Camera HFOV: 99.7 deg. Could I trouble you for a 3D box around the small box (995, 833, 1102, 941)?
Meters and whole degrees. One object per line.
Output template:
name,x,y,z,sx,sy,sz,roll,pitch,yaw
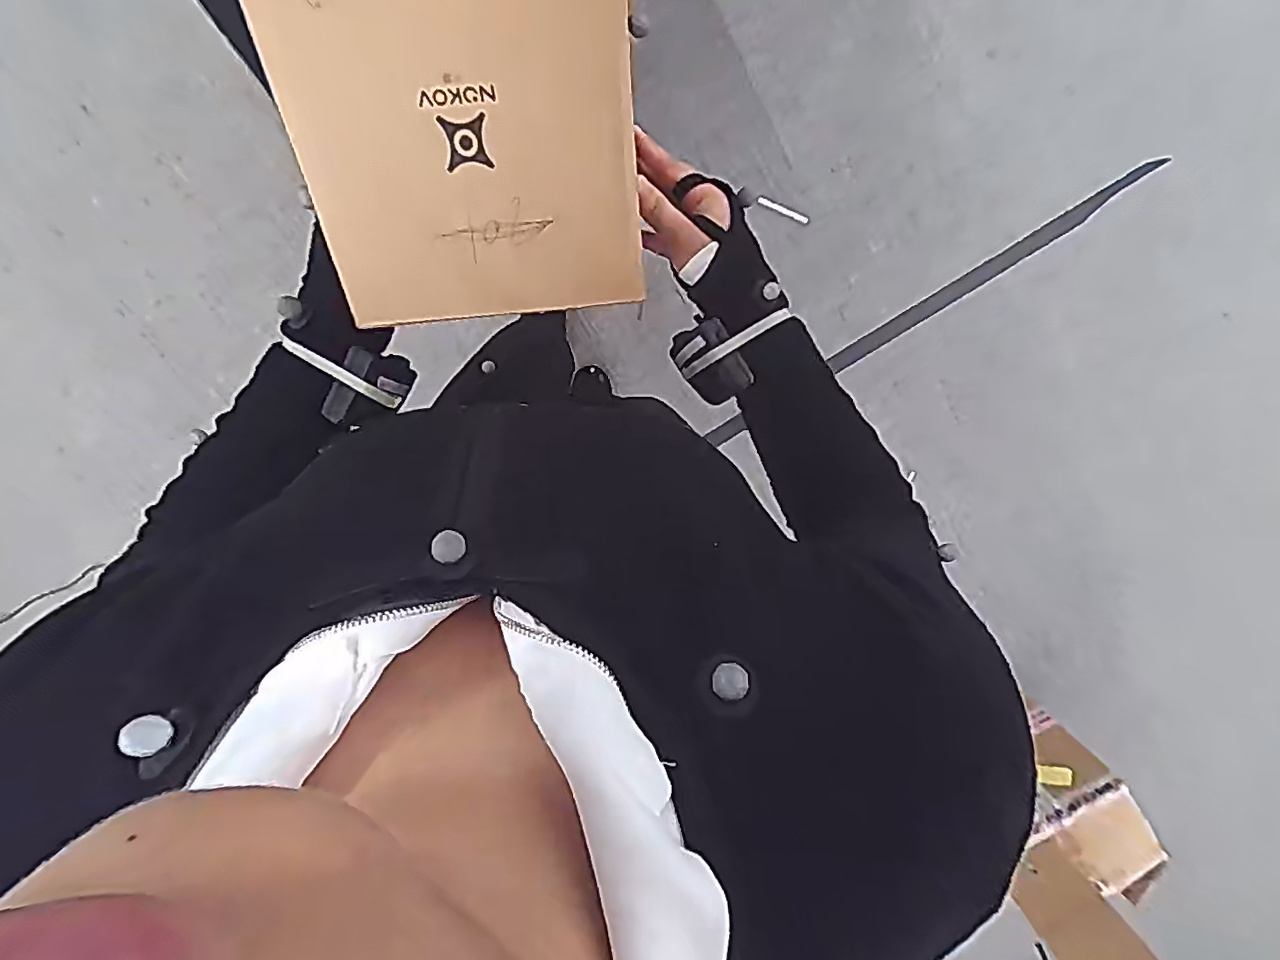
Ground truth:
small box,1.041,1.046,1.360,0.179,0.176,0.168,-40,103,9

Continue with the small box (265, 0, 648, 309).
small box,-0.086,-0.220,0.333,0.168,0.176,0.179,-5,124,0

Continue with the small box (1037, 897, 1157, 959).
small box,1.046,1.084,1.199,0.179,0.176,0.168,-40,102,8
